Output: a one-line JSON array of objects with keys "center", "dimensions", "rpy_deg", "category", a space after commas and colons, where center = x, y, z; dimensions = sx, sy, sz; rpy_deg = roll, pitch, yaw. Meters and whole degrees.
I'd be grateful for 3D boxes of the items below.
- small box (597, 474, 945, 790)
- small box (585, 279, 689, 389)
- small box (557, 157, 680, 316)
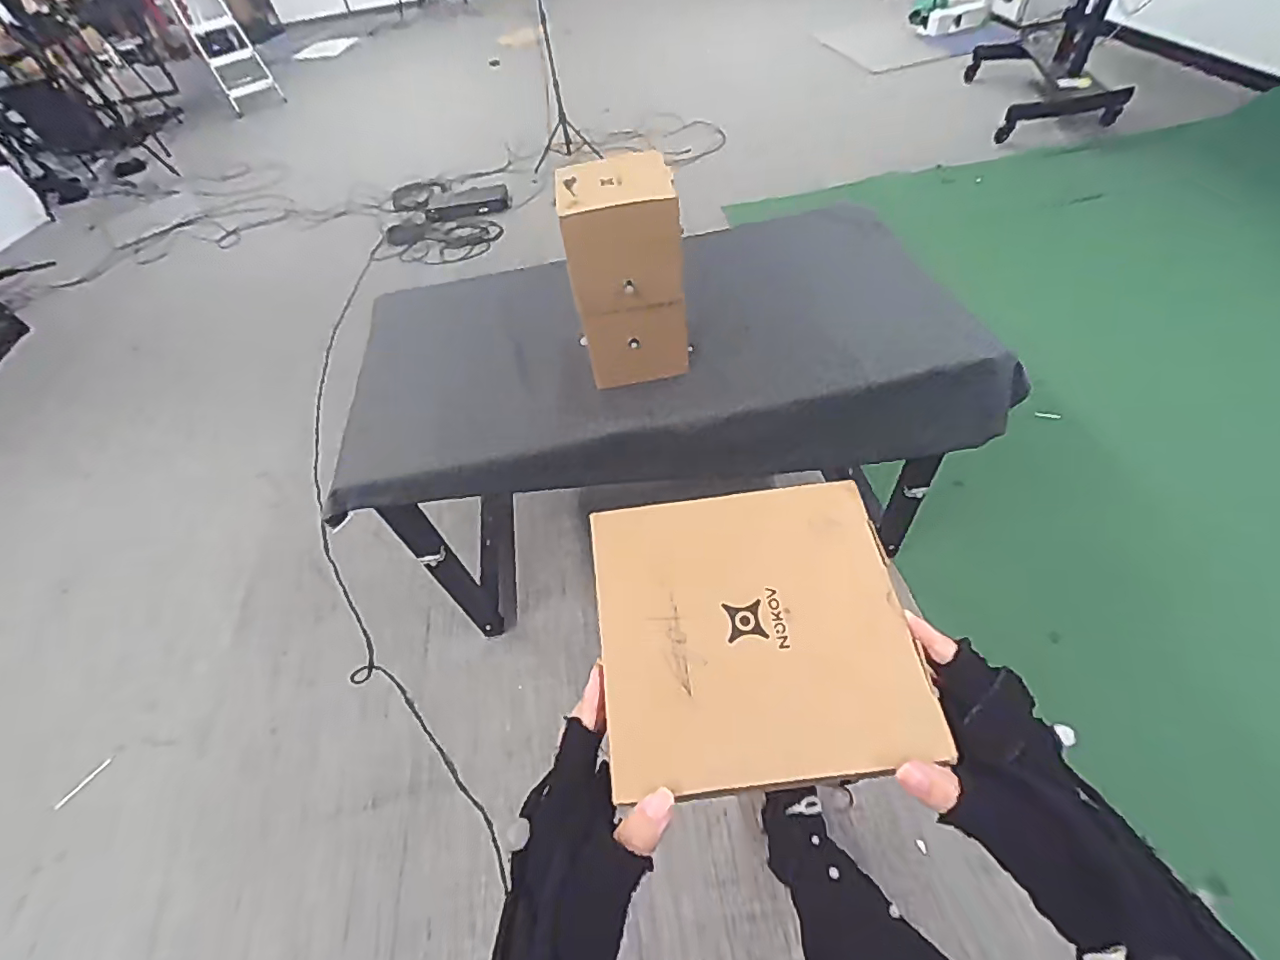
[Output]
[{"center": [0.071, 0.117, 0.390], "dimensions": [0.179, 0.176, 0.168], "rpy_deg": [-9, 58, 0], "category": "small box"}, {"center": [-0.011, -0.294, 1.007], "dimensions": [0.179, 0.176, 0.168], "rpy_deg": [-12, 51, -3], "category": "small box"}, {"center": [-0.032, -0.391, 0.877], "dimensions": [0.179, 0.176, 0.168], "rpy_deg": [-9, 51, 0], "category": "small box"}]
